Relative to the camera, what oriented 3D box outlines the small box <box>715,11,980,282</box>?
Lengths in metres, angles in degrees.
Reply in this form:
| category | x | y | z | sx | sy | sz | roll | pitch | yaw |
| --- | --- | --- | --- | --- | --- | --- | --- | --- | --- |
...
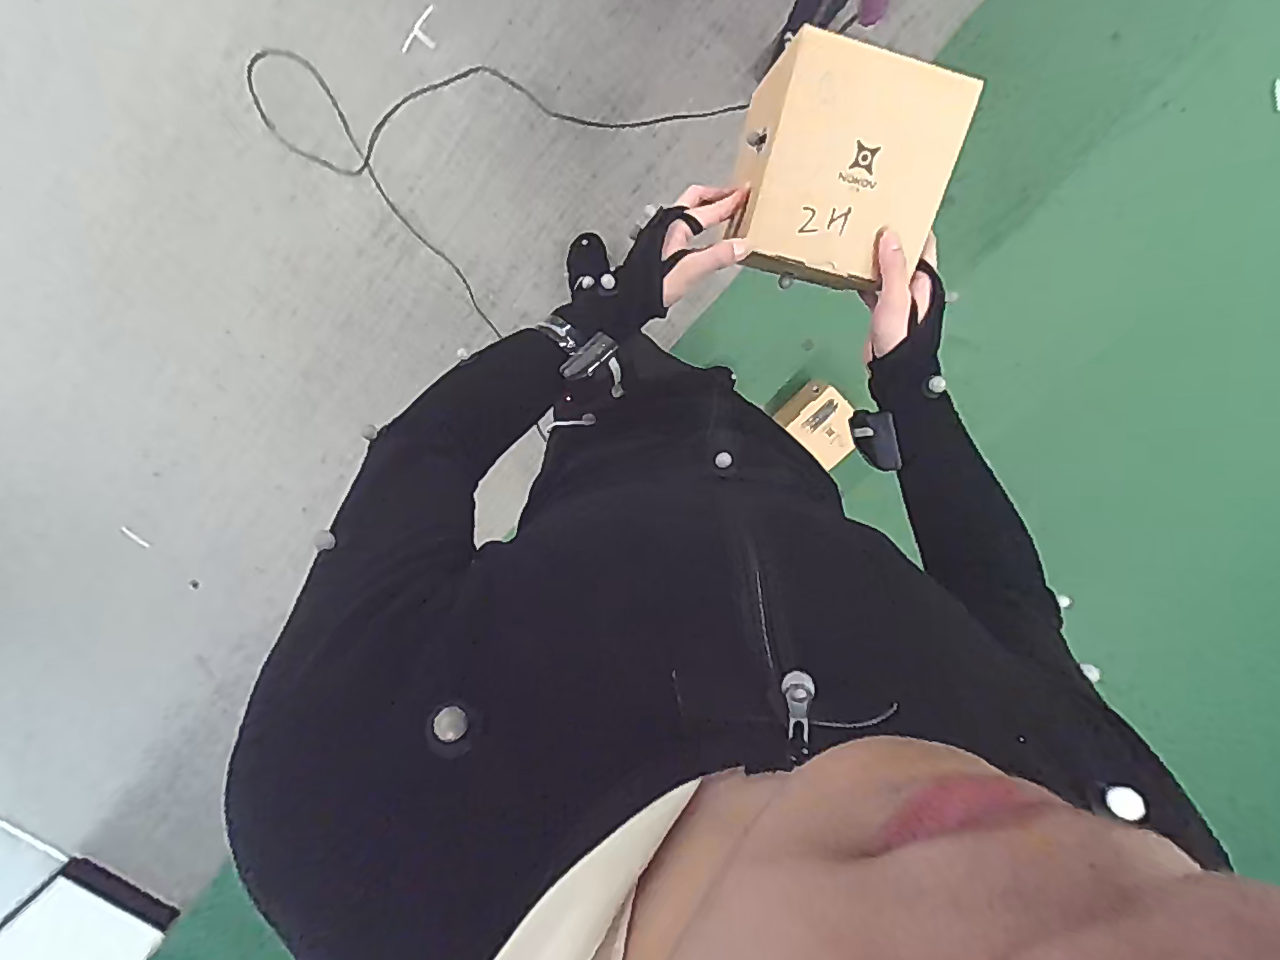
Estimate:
| category | x | y | z | sx | sy | sz | roll | pitch | yaw |
| --- | --- | --- | --- | --- | --- | --- | --- | --- | --- |
| small box | 0.183 | -0.307 | 0.542 | 0.168 | 0.176 | 0.179 | 11 | 110 | -6 |
